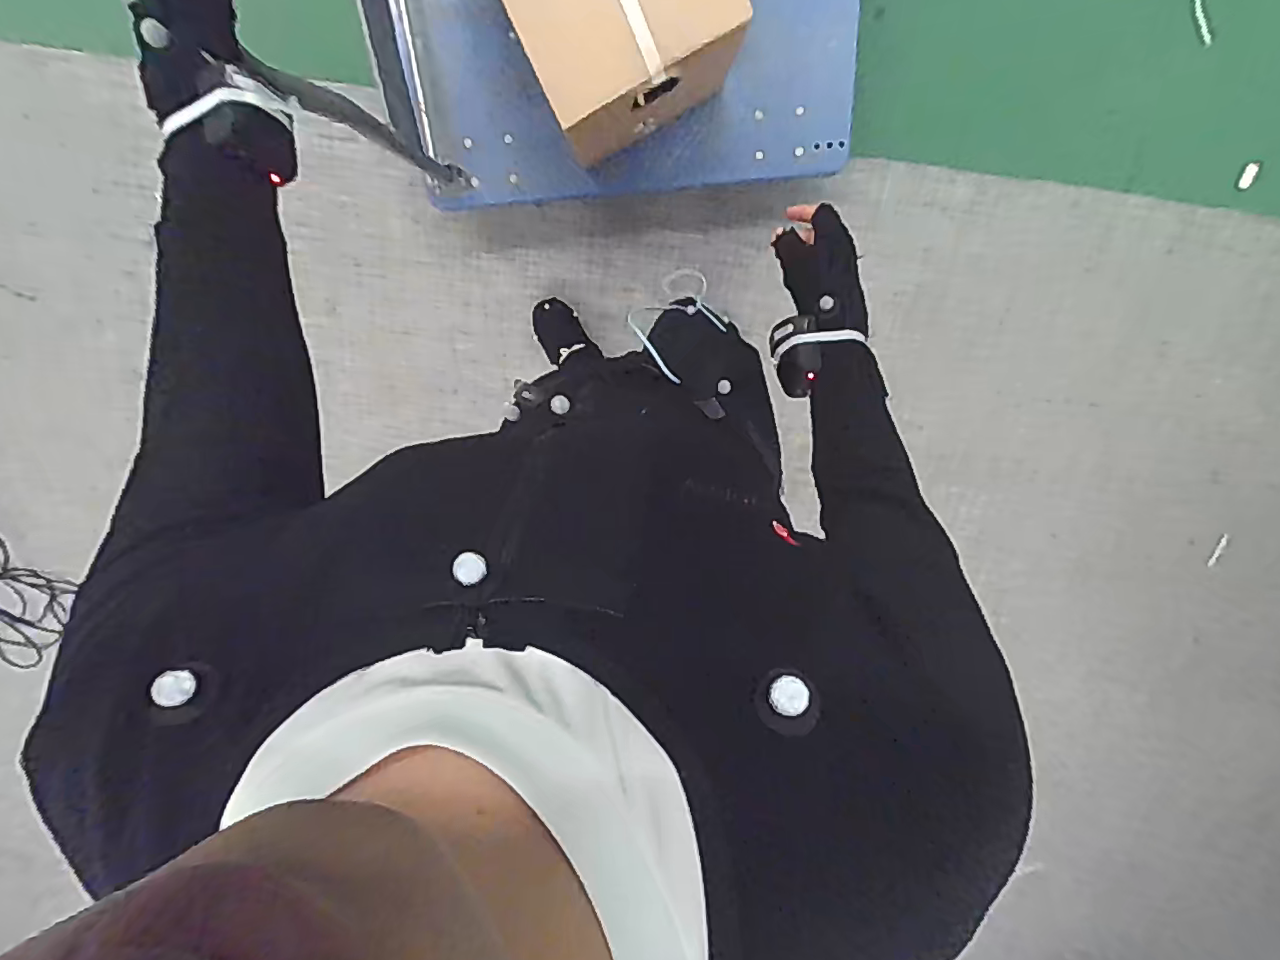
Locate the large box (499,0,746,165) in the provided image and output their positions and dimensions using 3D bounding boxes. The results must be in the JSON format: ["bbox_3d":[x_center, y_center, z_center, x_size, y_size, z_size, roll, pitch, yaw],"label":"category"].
[{"bbox_3d":[-0.067,-0.812,0.874,0.320,0.320,0.408,-25,108,9],"label":"large box"}]
